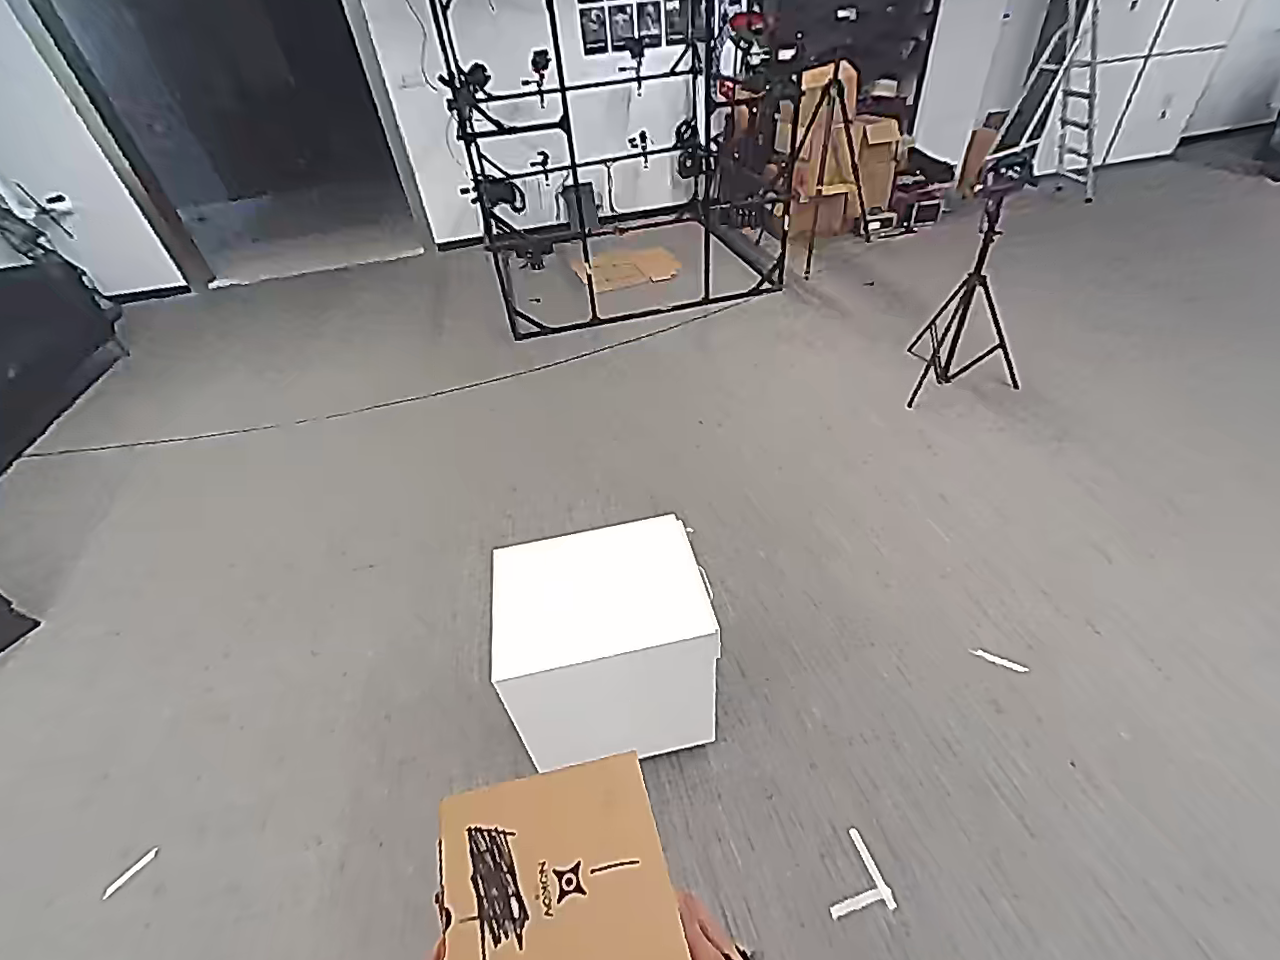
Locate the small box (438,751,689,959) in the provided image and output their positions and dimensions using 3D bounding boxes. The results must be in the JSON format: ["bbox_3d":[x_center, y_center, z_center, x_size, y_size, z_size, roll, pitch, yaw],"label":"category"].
[{"bbox_3d":[-0.076,0.373,0.478,0.179,0.176,0.168,-5,45,-18],"label":"small box"}]
